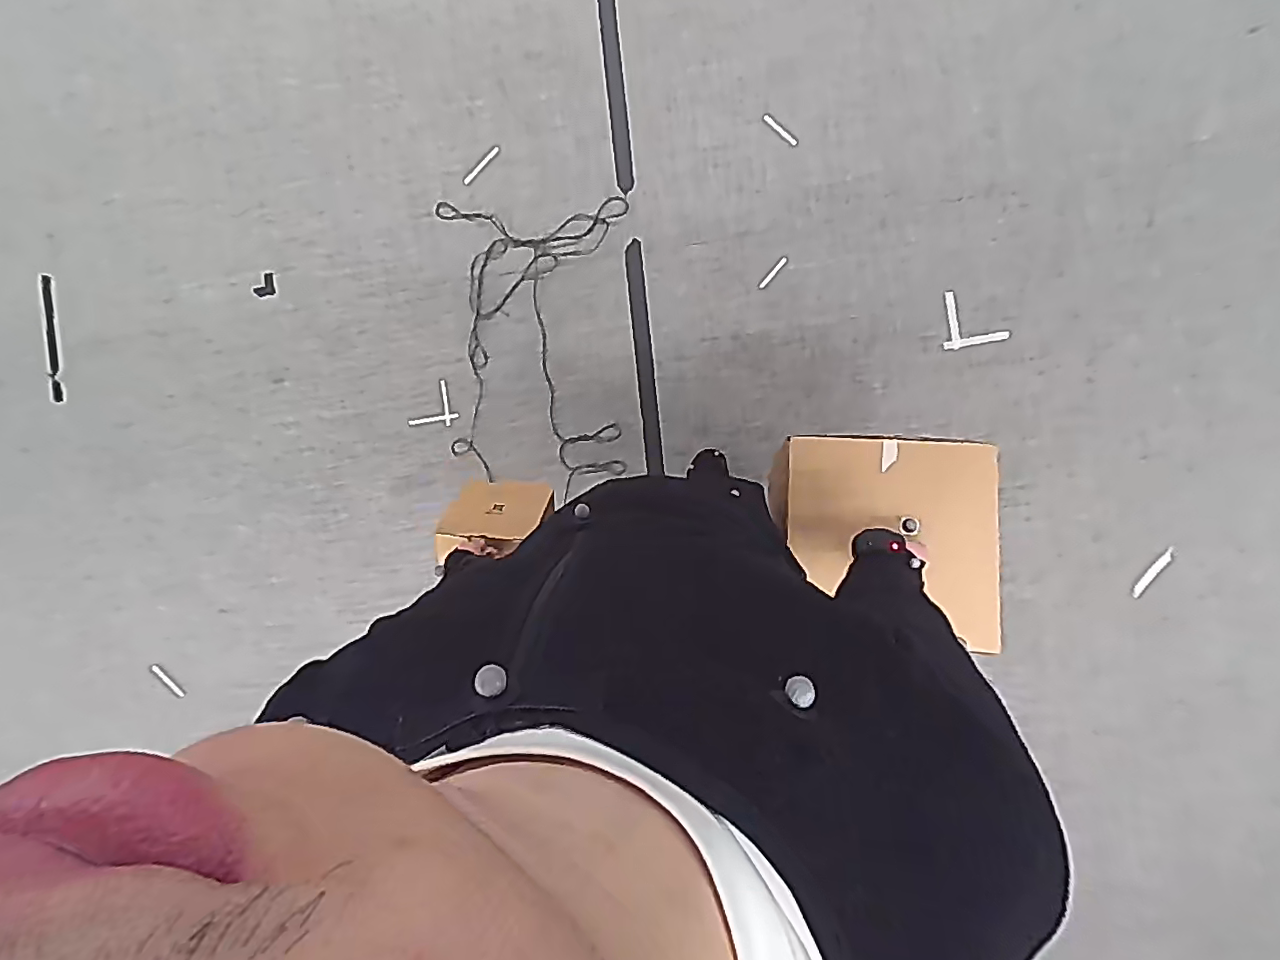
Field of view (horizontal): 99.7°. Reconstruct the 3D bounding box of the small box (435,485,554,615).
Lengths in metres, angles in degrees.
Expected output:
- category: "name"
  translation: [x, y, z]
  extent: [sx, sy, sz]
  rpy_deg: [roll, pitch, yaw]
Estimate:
- category: "small box"
  translation: [-0.254, 0.127, 0.996]
  extent: [0.168, 0.179, 0.176]
  rpy_deg: [4, 119, 2]
